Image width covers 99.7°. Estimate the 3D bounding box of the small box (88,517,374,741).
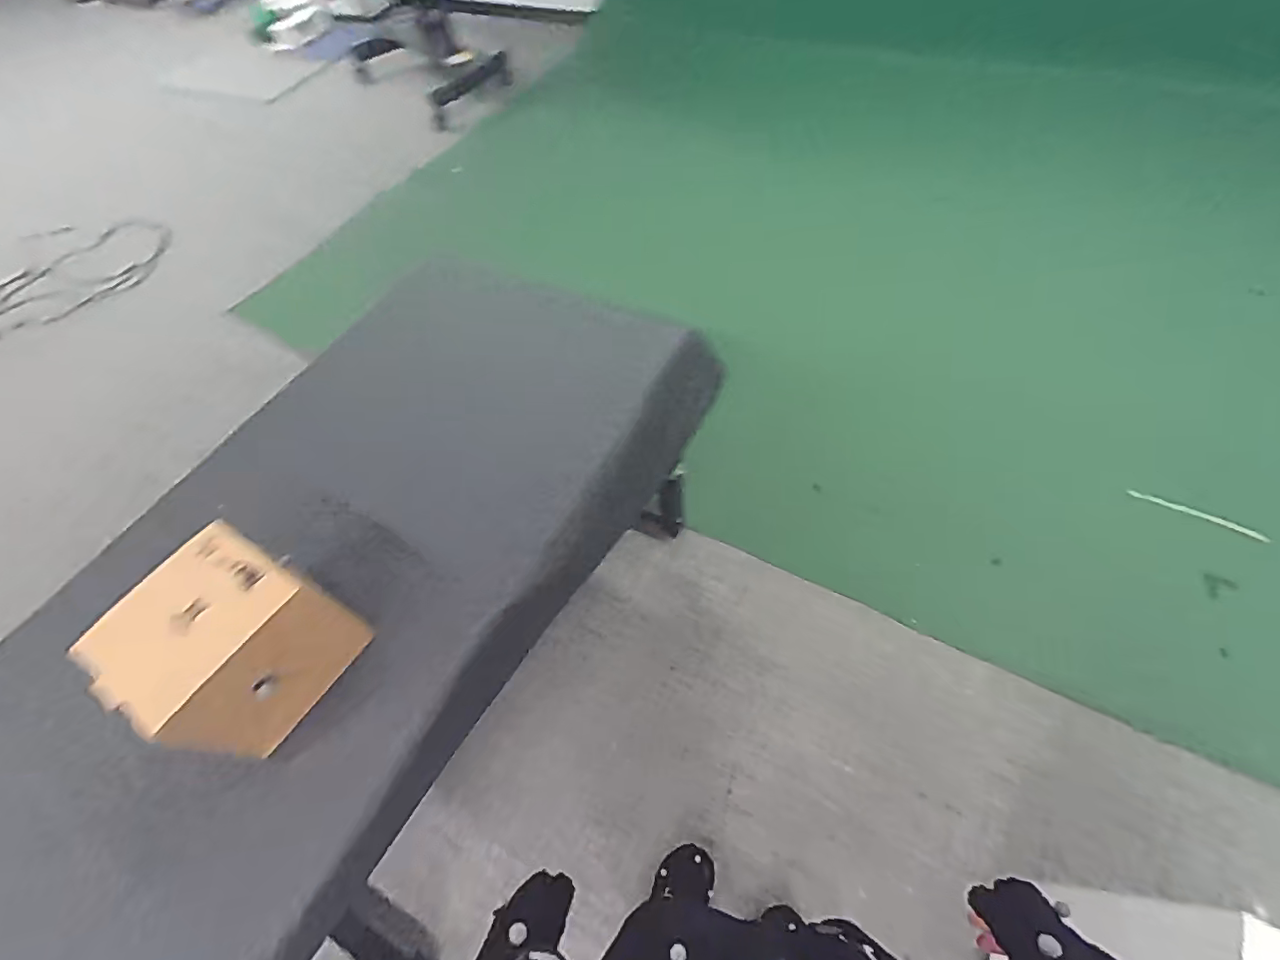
[{"bbox_3d":[-0.463,0.182,0.642,0.168,0.176,0.179,27,65,21],"label":"small box"}]
